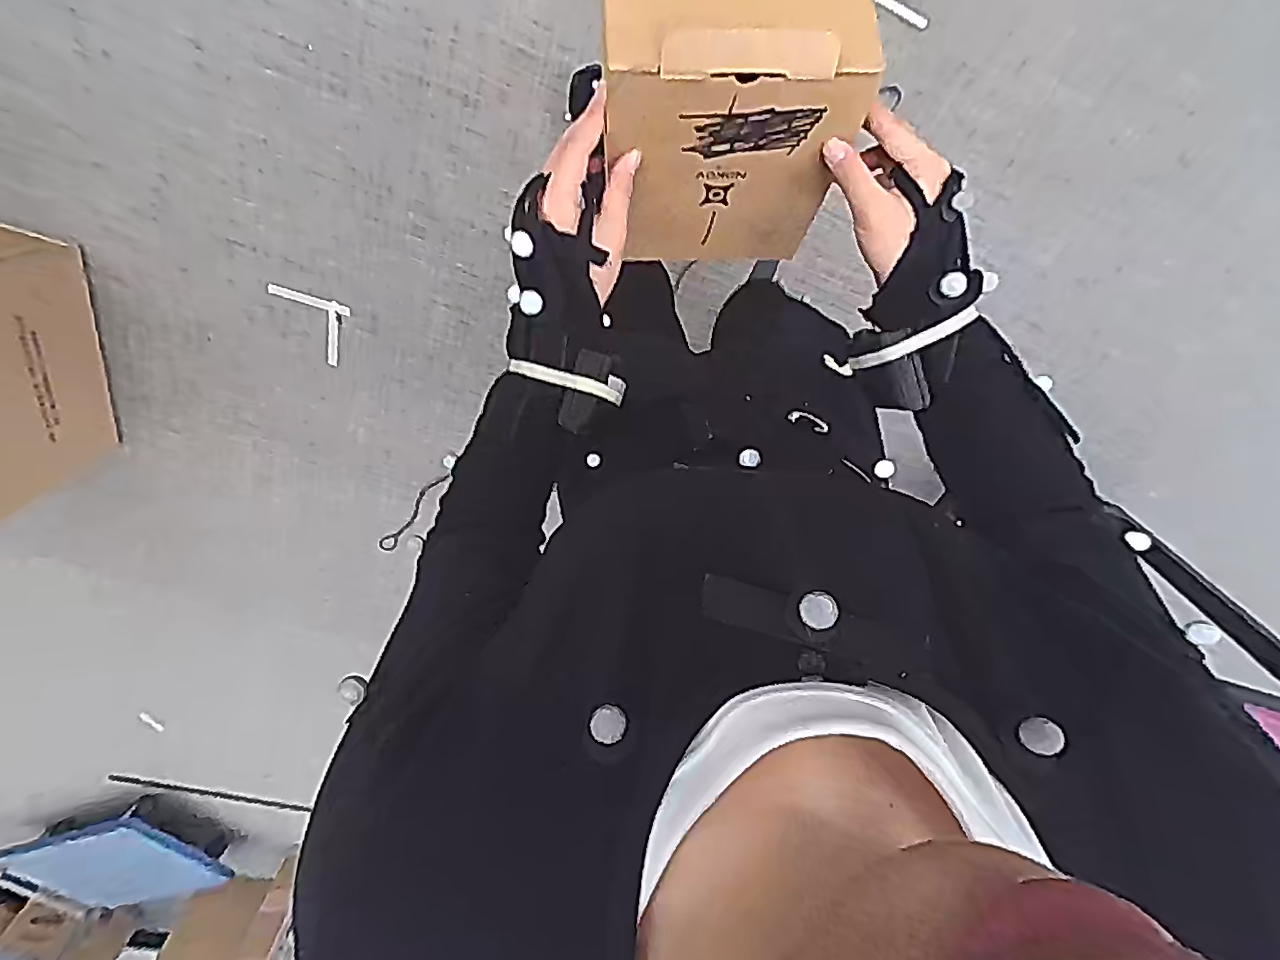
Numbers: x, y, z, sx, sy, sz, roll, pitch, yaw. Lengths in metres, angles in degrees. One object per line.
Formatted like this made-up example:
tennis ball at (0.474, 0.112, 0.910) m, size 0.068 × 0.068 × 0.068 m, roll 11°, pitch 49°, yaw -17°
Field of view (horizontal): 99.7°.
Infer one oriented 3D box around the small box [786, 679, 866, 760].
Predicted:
small box at (0.606, 0.790, 1.790) m, size 0.168 × 0.176 × 0.179 m, roll 16°, pitch 122°, yaw -11°

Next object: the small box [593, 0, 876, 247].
small box at (0.049, -0.304, 0.410) m, size 0.168 × 0.176 × 0.179 m, roll -1°, pitch 167°, yaw -4°
